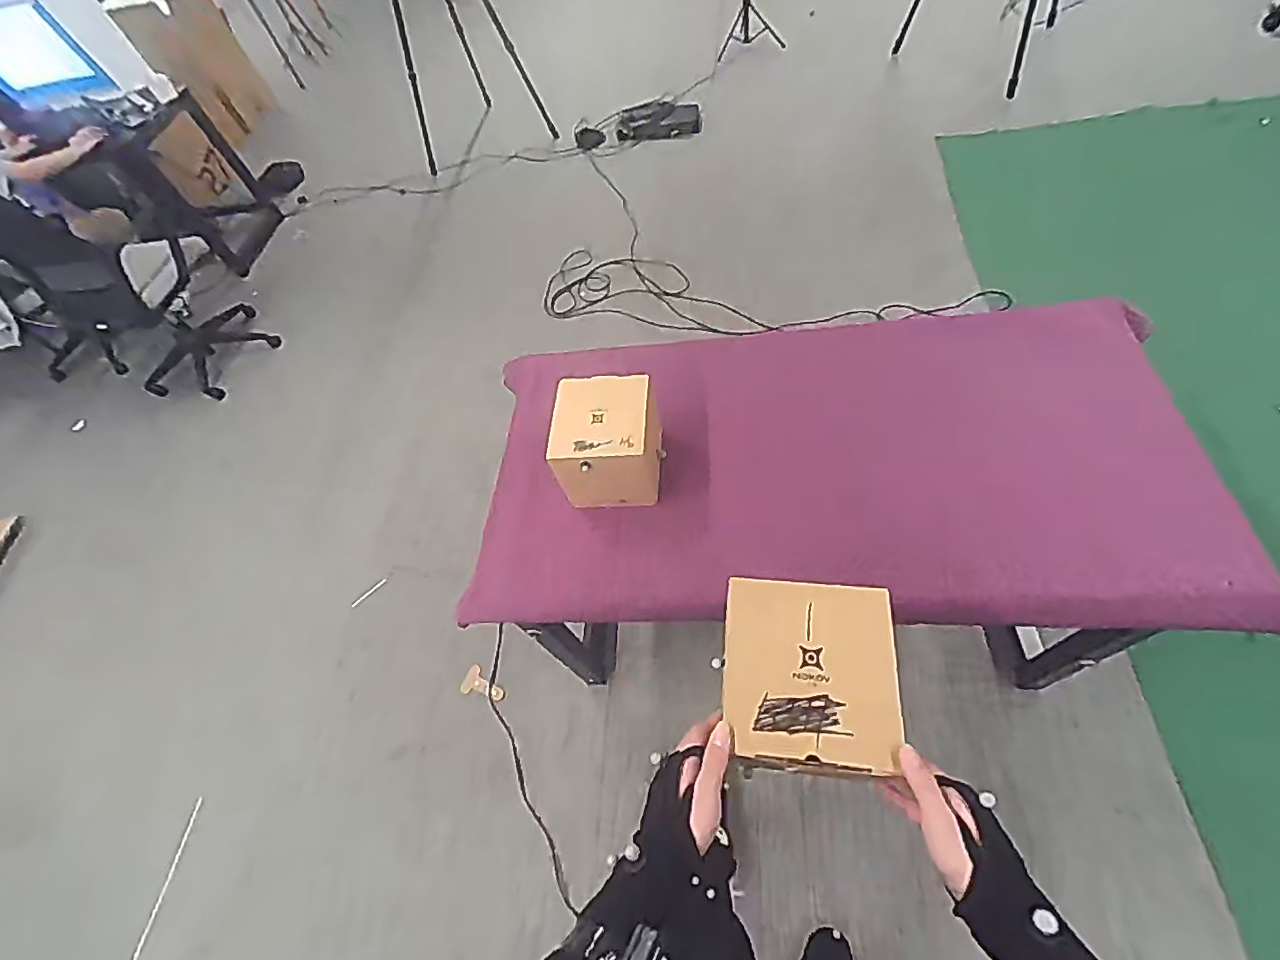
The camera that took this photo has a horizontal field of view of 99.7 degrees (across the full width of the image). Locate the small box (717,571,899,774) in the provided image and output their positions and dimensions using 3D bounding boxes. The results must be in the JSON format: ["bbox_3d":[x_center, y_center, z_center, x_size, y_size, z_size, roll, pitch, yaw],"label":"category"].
[{"bbox_3d":[0.175,0.220,0.606,0.168,0.176,0.179,3,59,9],"label":"small box"}]

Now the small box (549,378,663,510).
[{"bbox_3d":[-0.051,-0.063,0.989,0.168,0.176,0.179,-2,57,11],"label":"small box"}]
